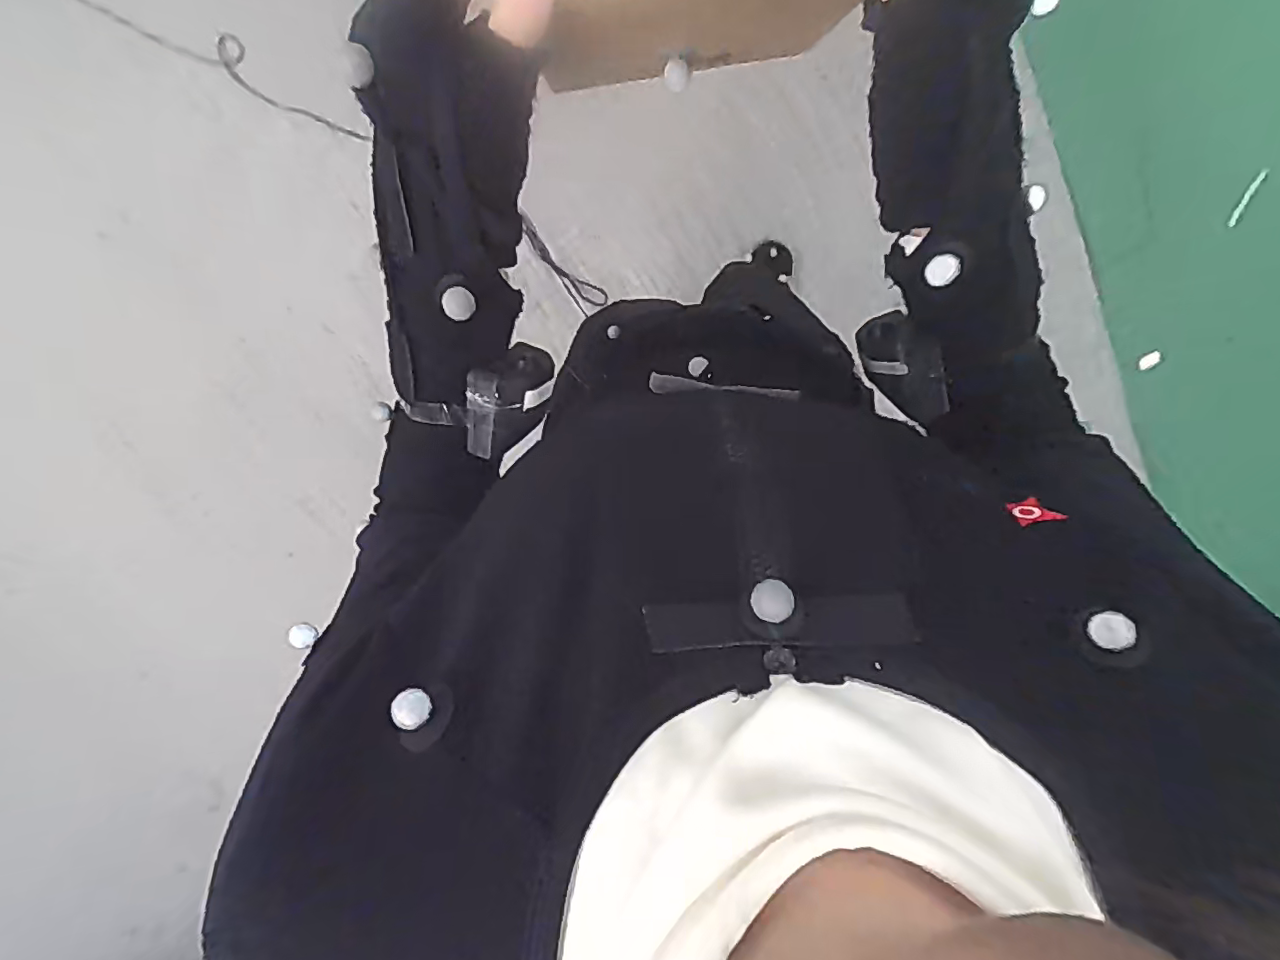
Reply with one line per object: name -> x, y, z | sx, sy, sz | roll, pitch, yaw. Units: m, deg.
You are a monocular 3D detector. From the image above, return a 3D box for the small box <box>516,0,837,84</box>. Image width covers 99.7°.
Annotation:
small box -> 0.010, -0.305, 0.232 | 0.168, 0.176, 0.179 | -8, 116, 4
